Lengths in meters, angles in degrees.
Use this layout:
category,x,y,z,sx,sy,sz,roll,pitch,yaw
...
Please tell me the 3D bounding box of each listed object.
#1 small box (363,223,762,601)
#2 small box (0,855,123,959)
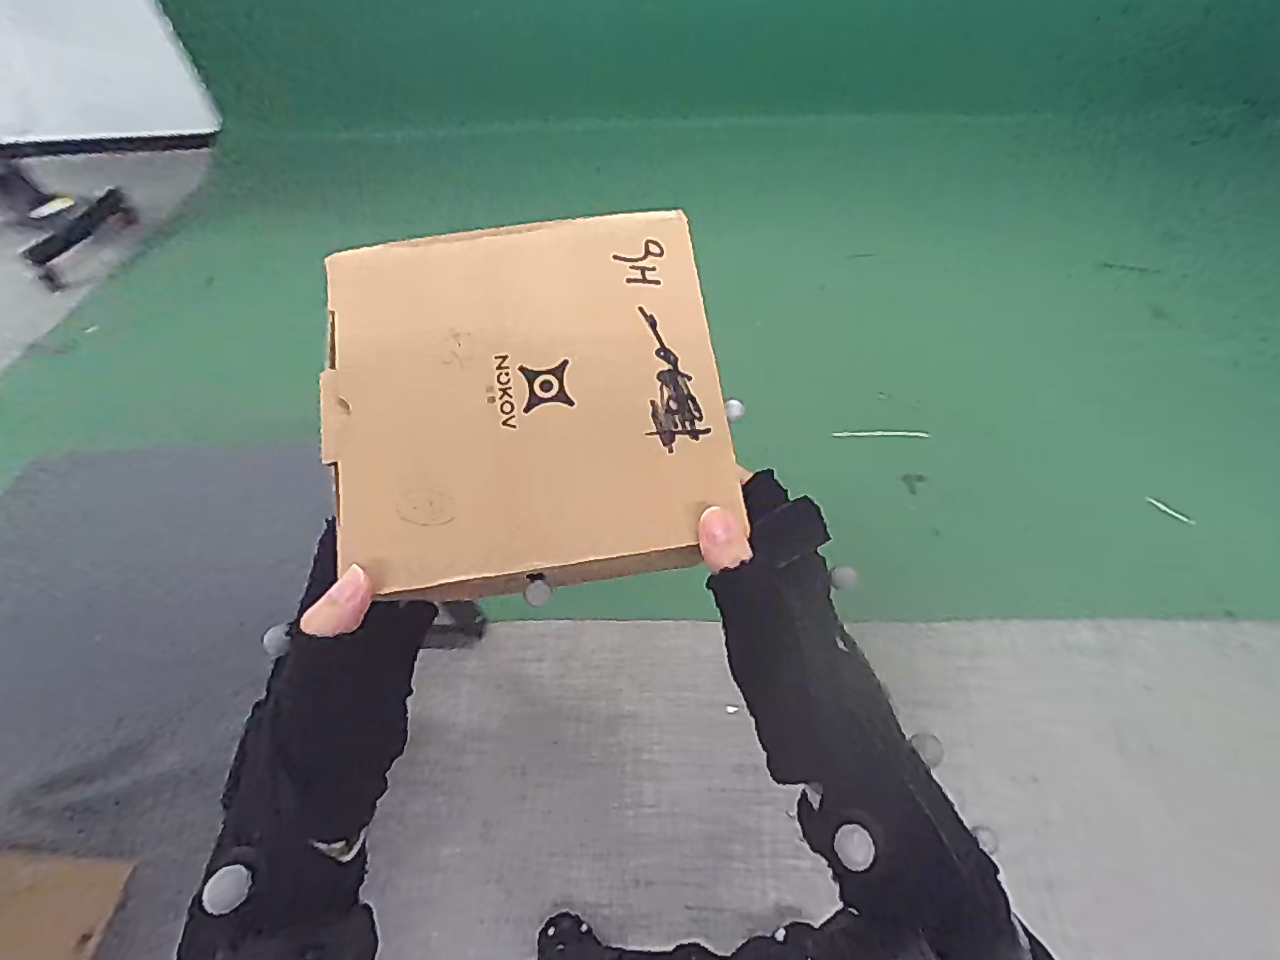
category,x,y,z,sx,sy,sz,roll,pitch,yaw
small box,-0.043,-0.023,0.336,0.179,0.176,0.168,-10,76,-4
small box,-0.629,0.426,0.468,0.179,0.176,0.168,-1,54,3
